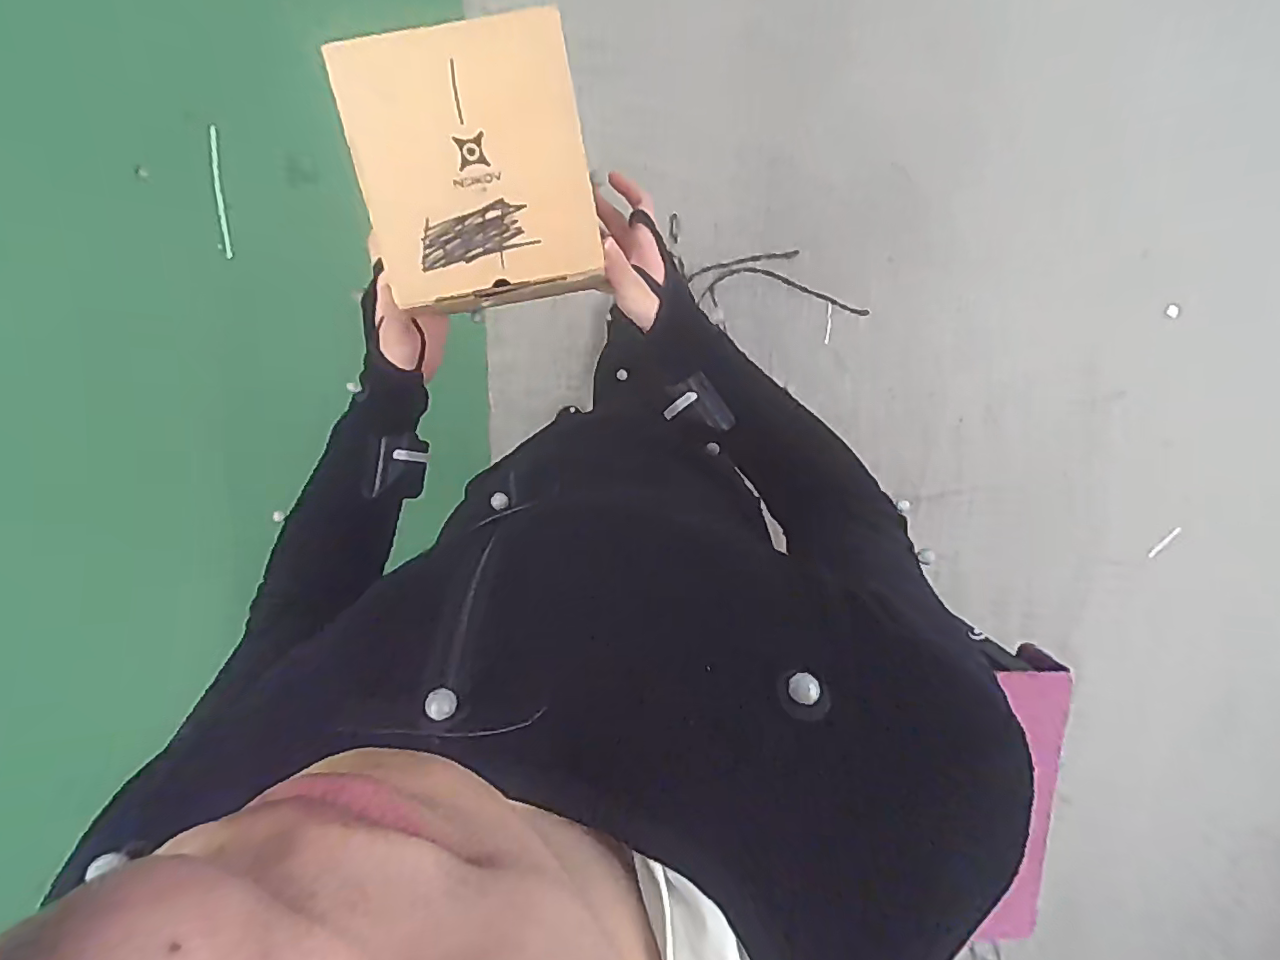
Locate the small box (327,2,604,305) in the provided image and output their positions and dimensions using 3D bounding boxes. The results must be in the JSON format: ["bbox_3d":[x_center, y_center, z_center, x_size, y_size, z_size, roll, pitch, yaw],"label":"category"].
[{"bbox_3d":[-0.125,-0.252,0.467,0.168,0.176,0.179,-10,105,-1],"label":"small box"}]
